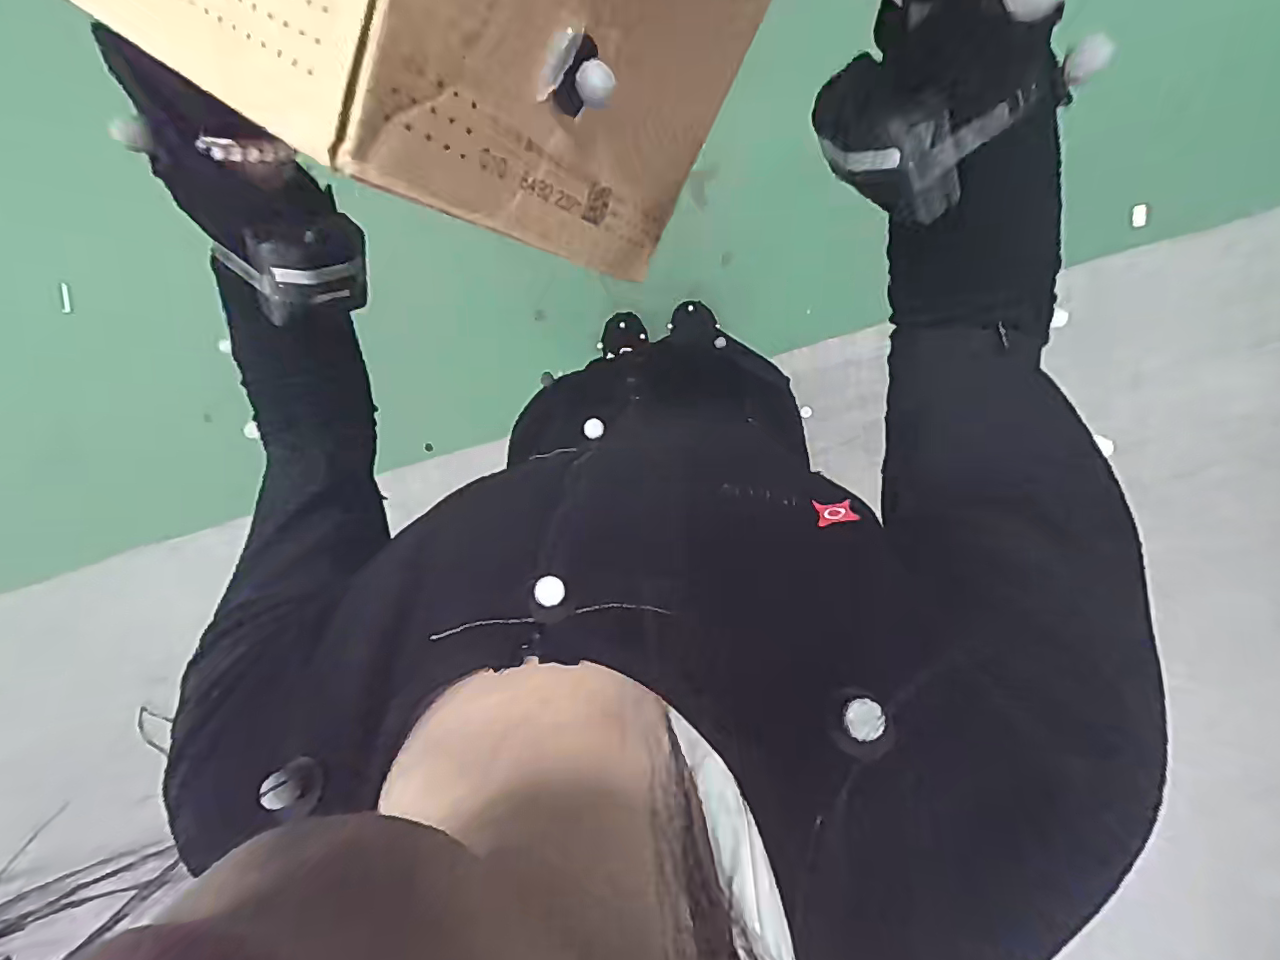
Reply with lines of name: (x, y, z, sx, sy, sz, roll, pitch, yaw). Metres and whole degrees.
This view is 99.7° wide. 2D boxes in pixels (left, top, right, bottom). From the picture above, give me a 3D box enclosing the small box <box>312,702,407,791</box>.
small box: (-0.881, 0.840, 1.717, 0.179, 0.176, 0.168, -19, 107, 8)
